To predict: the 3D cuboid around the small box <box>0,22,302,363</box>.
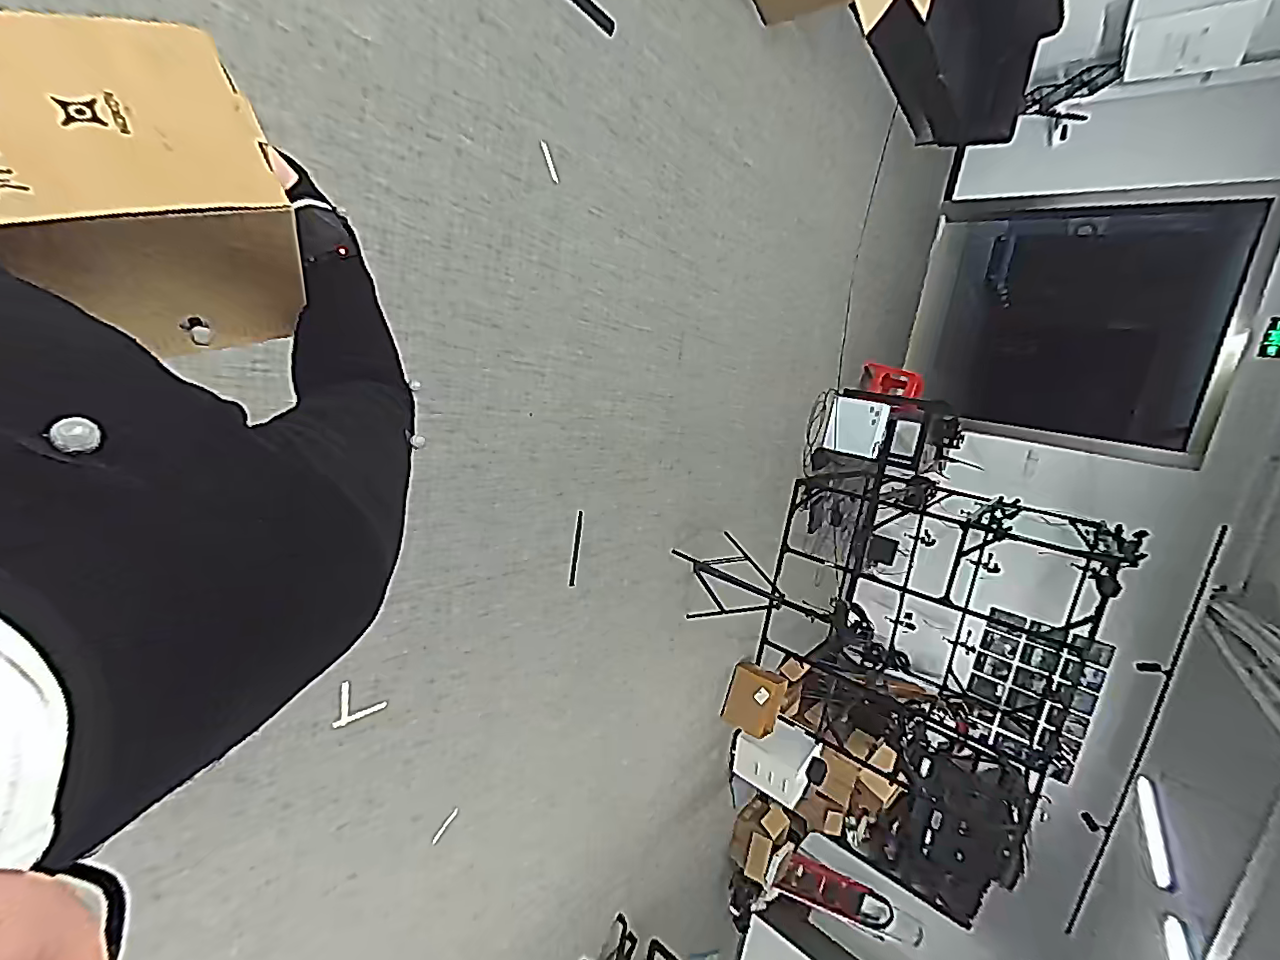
[{"bbox_3d":[-0.401,-0.221,0.445,0.179,0.176,0.168,-24,82,-32],"label":"small box"}]
